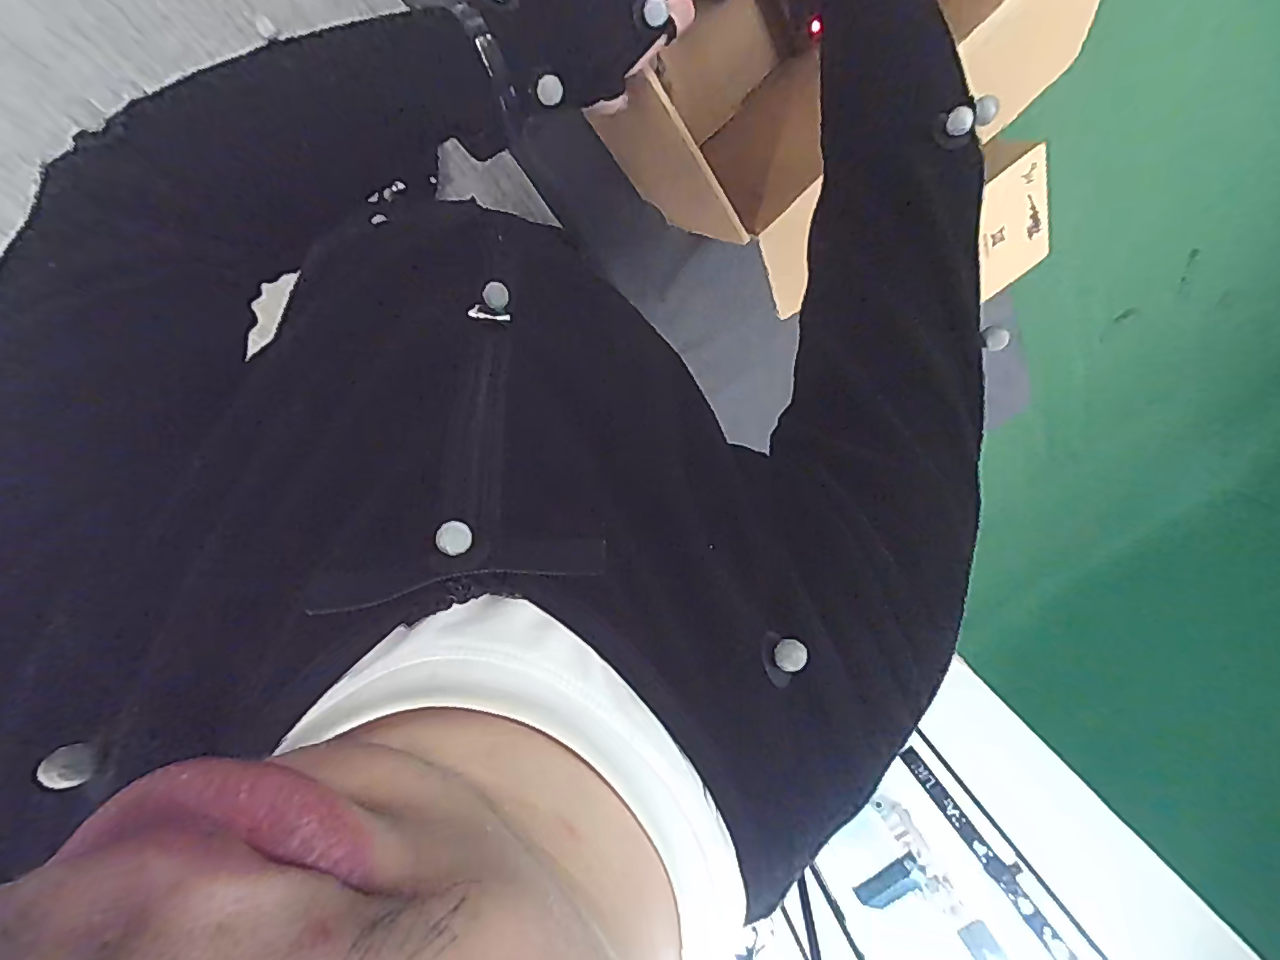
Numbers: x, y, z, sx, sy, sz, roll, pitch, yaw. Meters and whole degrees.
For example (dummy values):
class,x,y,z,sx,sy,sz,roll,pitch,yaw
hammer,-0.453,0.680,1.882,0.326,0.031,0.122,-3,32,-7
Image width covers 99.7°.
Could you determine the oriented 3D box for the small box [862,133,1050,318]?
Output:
class,x,y,z,sx,sy,sz,roll,pitch,yaw
small box,0.451,-0.374,0.790,0.179,0.176,0.168,-33,129,4
